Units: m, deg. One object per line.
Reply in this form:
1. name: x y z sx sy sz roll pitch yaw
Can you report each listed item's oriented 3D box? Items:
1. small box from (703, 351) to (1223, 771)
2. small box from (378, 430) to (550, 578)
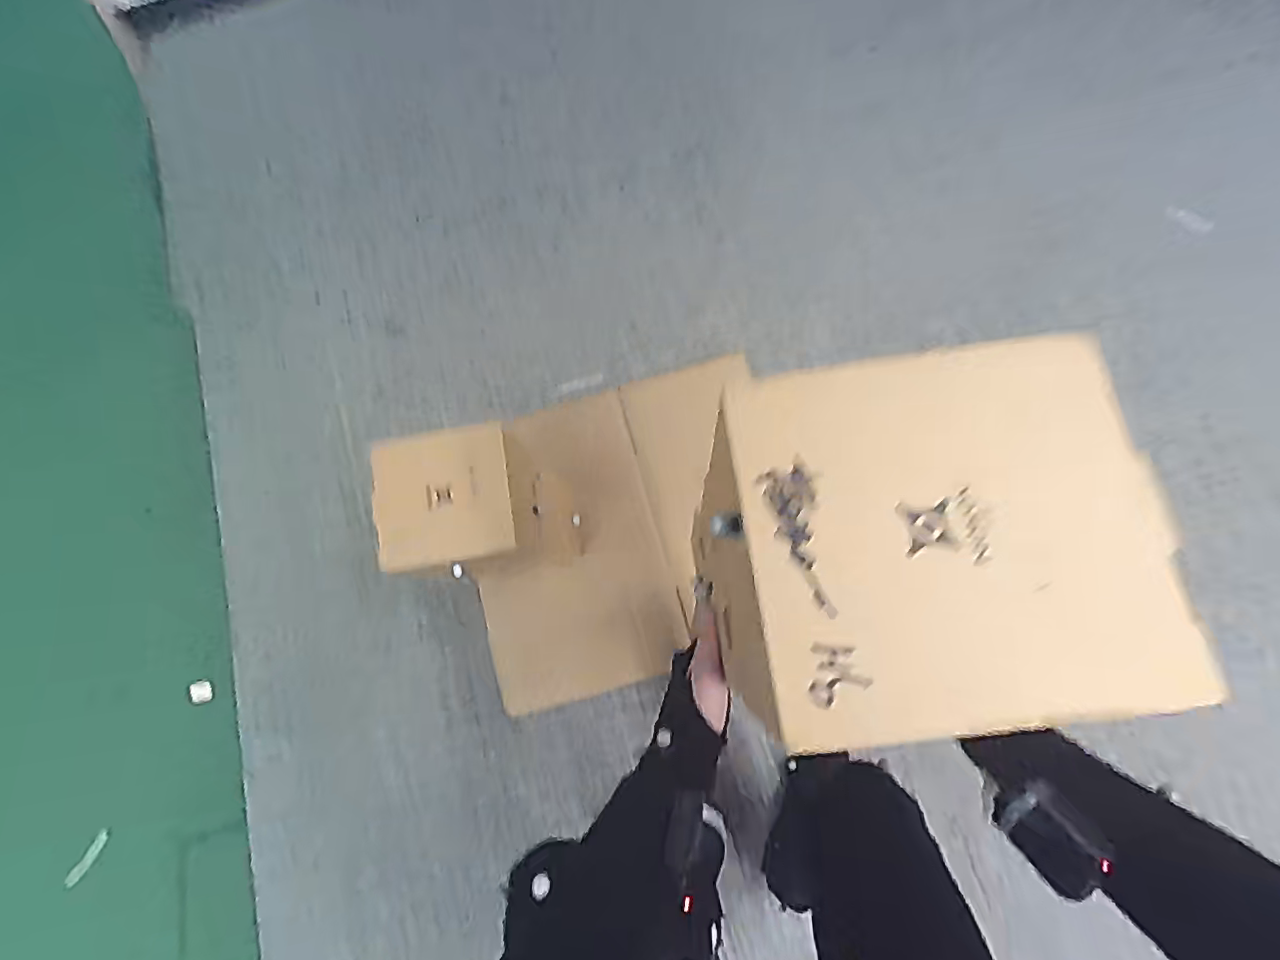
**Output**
1. small box: 0.135 0.049 0.308 0.179 0.176 0.168 -8 73 3
2. small box: -0.240 0.044 0.767 0.179 0.176 0.168 -10 78 2
